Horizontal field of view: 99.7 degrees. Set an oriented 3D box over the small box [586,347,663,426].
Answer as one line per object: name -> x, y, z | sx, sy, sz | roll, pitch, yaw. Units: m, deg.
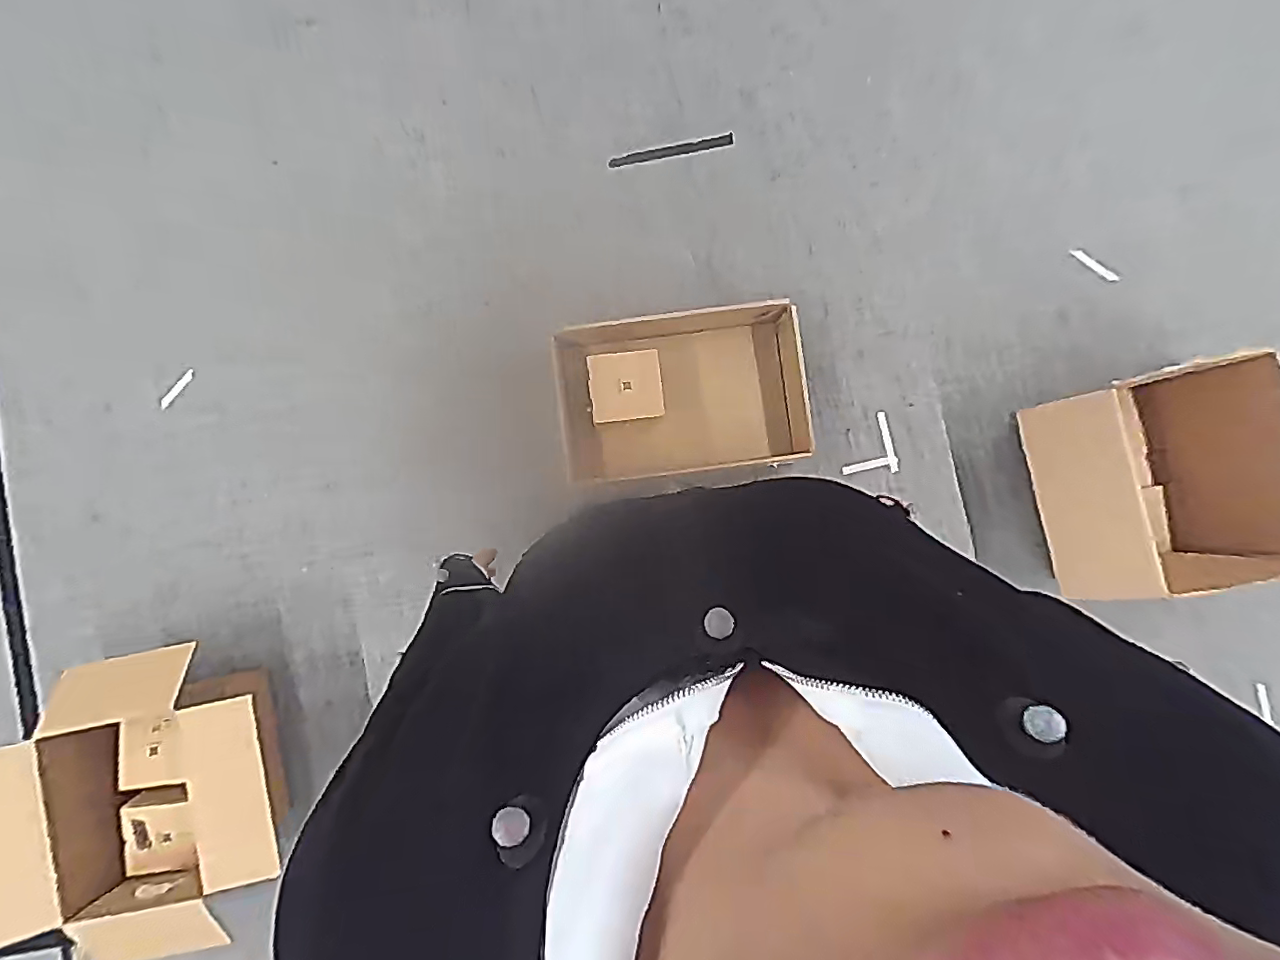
small box -> -0.040, -0.234, 1.392 | 0.179, 0.176, 0.168 | -7, 91, -3
